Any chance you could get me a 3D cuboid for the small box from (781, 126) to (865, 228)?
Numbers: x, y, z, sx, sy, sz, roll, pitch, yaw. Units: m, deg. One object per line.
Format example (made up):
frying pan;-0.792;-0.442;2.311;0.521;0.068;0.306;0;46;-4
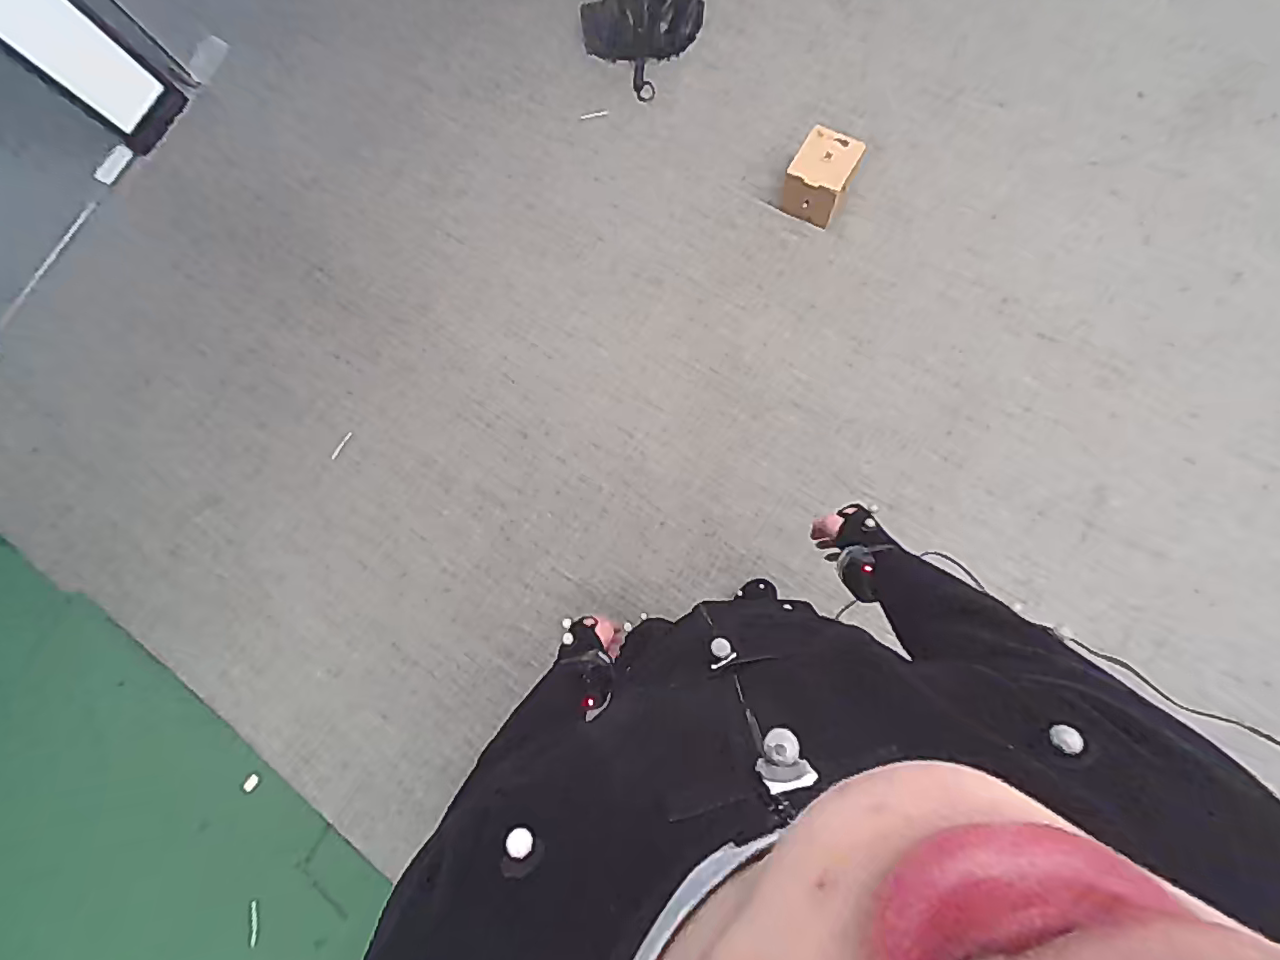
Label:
small box;0.539;-0.900;1.621;0.168;0.176;0.179;31;85;11
